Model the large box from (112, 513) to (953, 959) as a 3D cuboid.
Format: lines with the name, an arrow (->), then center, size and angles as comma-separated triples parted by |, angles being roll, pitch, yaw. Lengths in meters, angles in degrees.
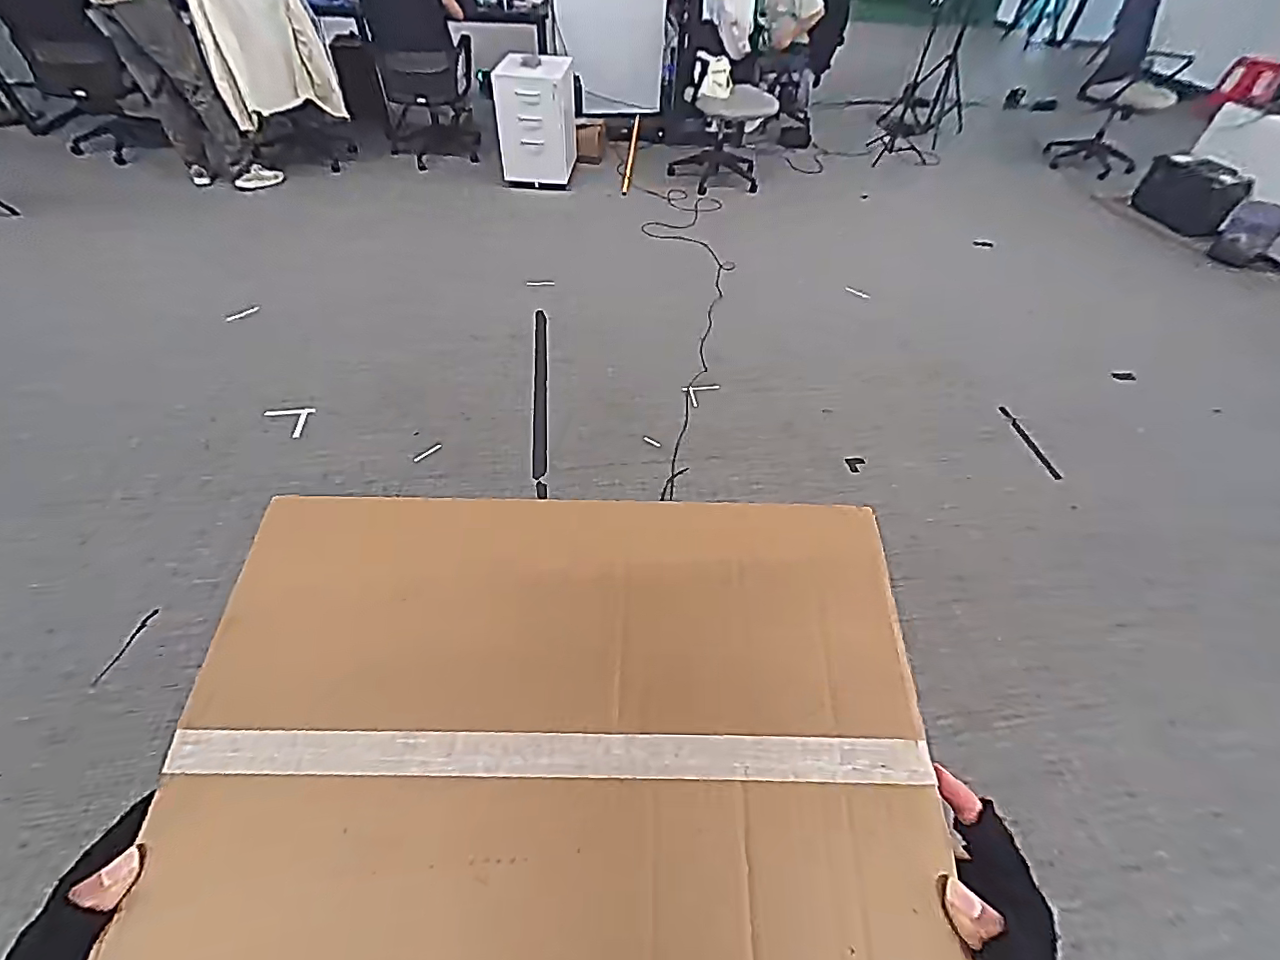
large box -> -0.050, 0.232, 0.425 | 0.408, 0.320, 0.320 | 1, 60, 0
